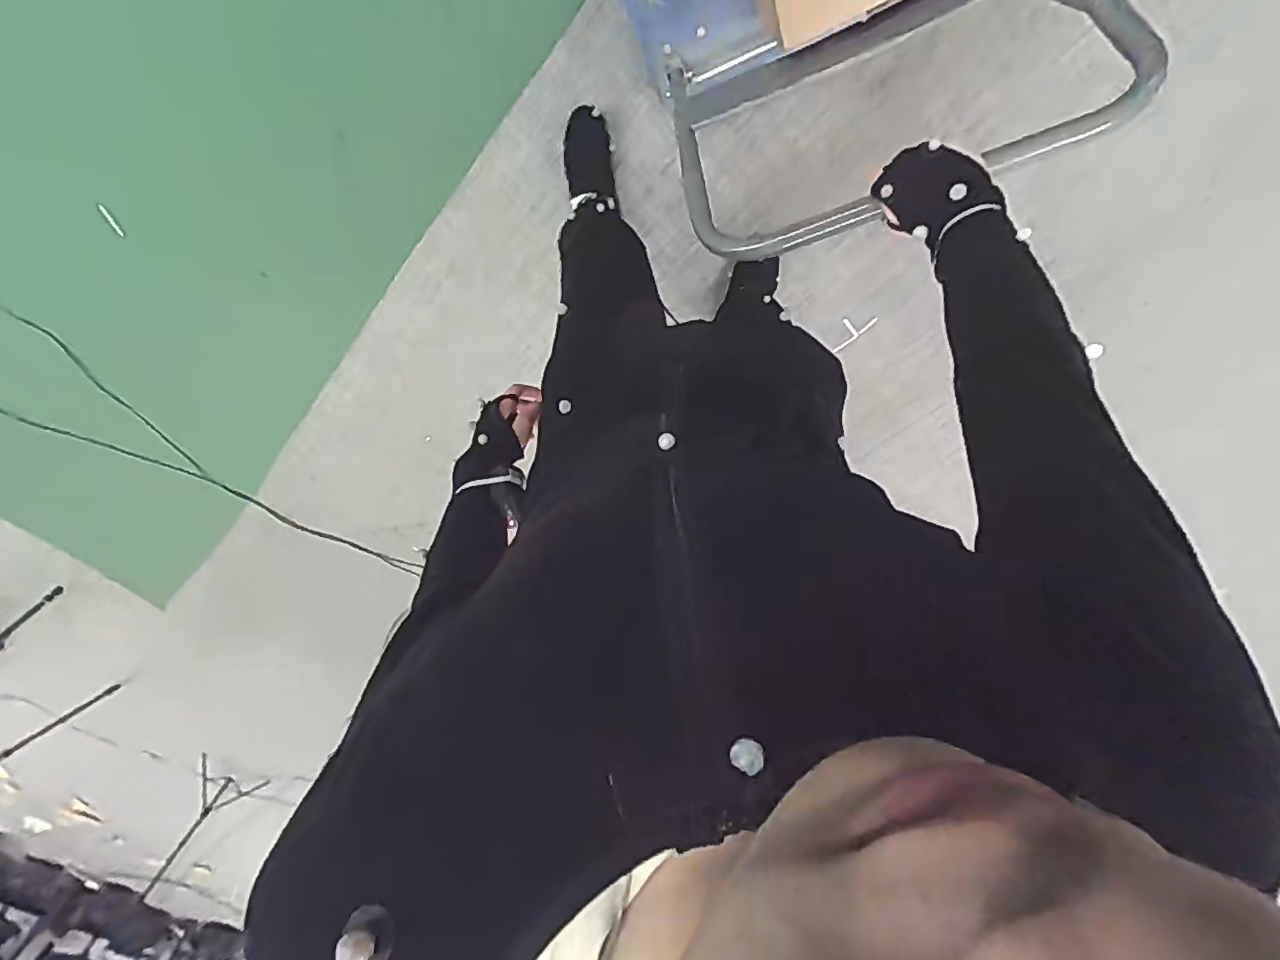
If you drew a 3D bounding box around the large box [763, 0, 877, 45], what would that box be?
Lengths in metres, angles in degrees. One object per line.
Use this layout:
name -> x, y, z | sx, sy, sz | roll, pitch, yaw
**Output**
large box -> 0.286, -0.928, 0.744 | 0.320, 0.320, 0.408 | -17, 133, 19
